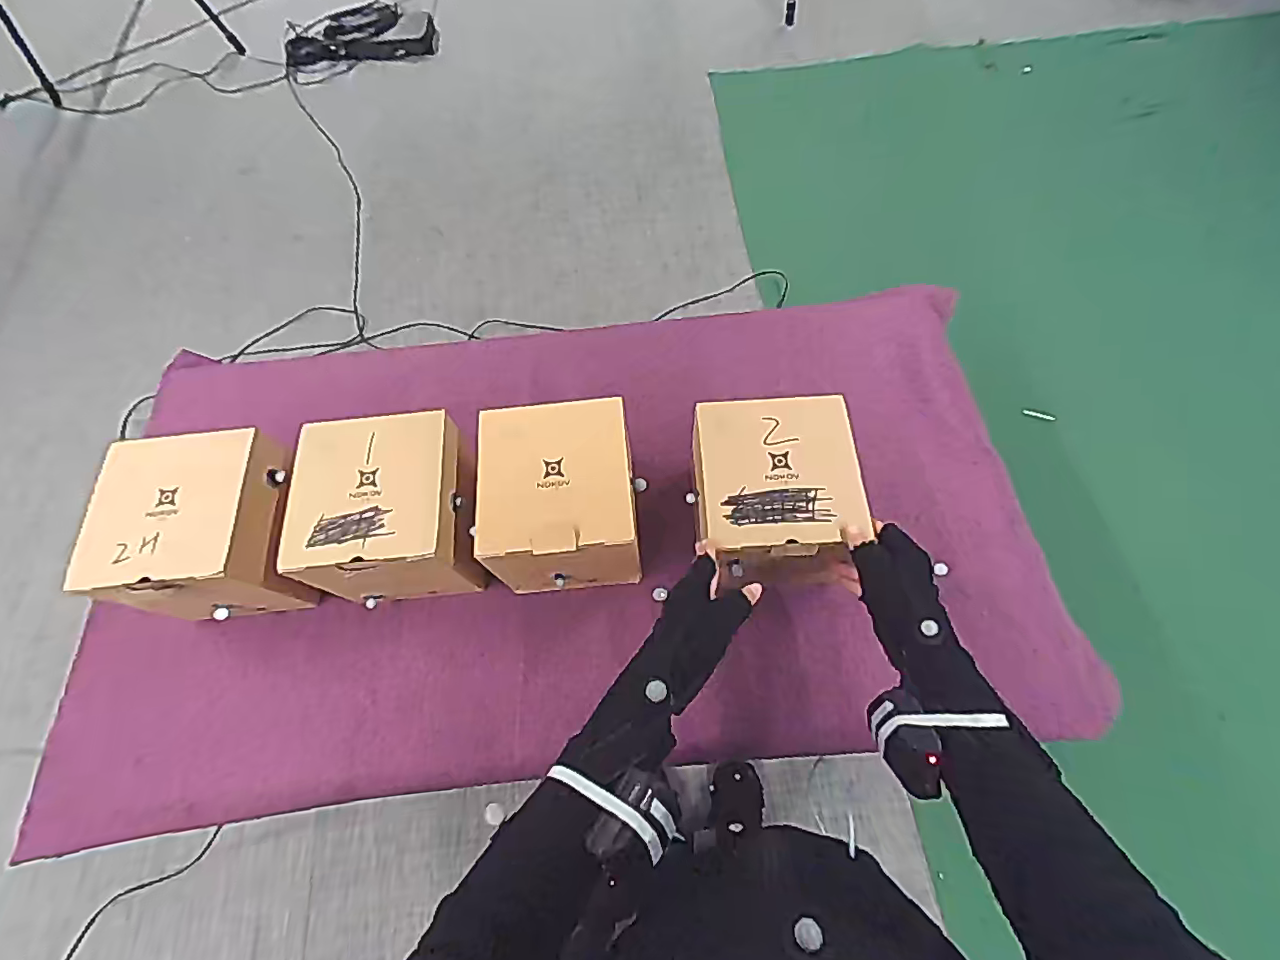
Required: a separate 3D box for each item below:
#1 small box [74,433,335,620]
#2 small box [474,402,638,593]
[{"bbox_3d":[-0.505,0.063,0.661,0.168,0.176,0.179,-6,66,0],"label":"small box"},{"bbox_3d":[-0.092,0.027,0.659,0.168,0.176,0.179,-6,66,0],"label":"small box"}]
